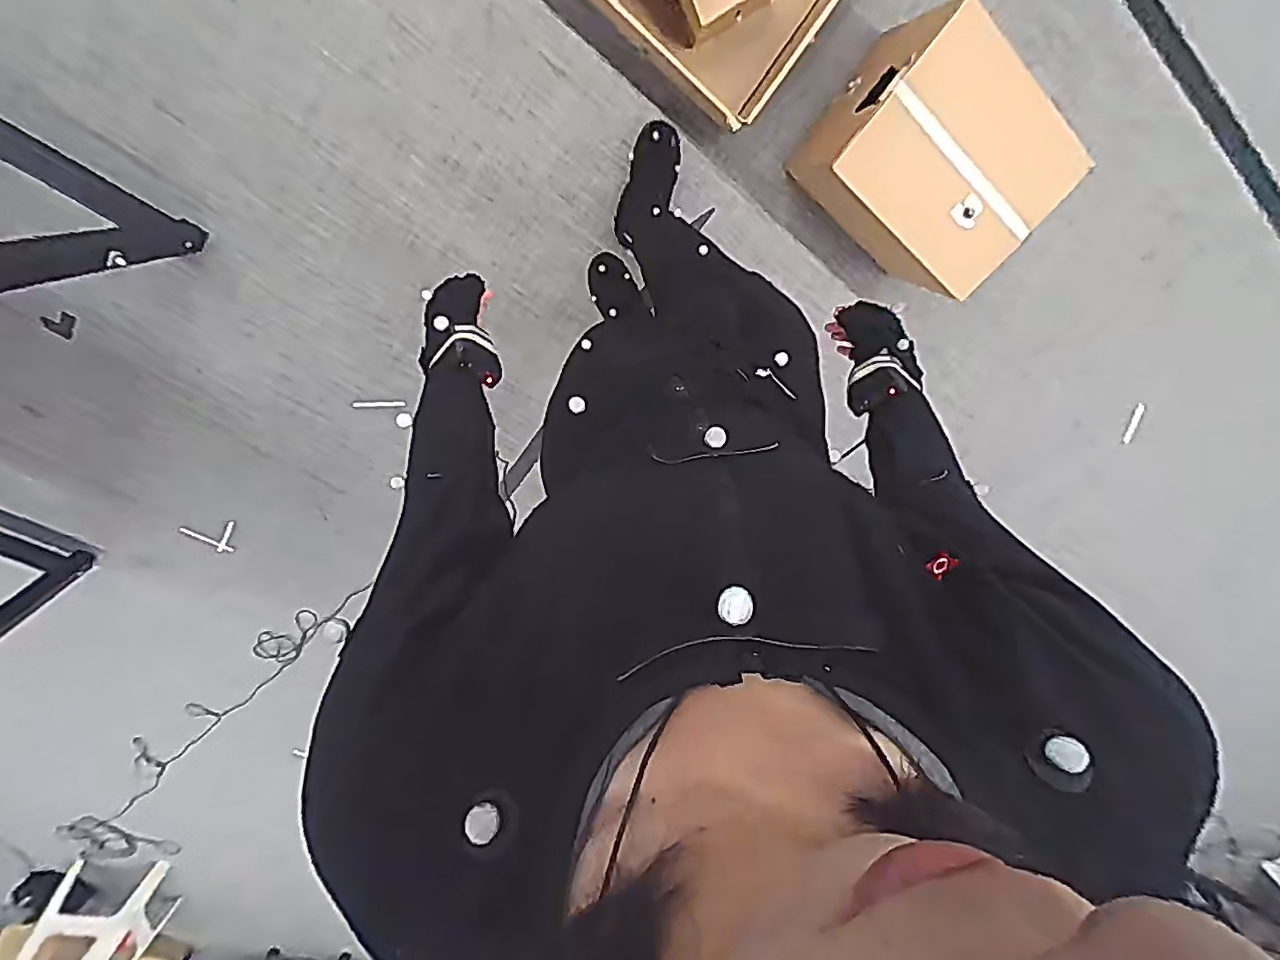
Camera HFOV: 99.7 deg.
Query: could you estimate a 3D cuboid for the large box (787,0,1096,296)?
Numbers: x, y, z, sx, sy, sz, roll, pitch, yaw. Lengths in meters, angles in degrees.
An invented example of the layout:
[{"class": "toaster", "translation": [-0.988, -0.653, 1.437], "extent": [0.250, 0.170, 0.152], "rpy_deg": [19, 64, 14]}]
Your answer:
[{"class": "large box", "translation": [0.586, -0.652, 1.114], "extent": [0.408, 0.320, 0.320], "rpy_deg": [32, 114, -21]}]
